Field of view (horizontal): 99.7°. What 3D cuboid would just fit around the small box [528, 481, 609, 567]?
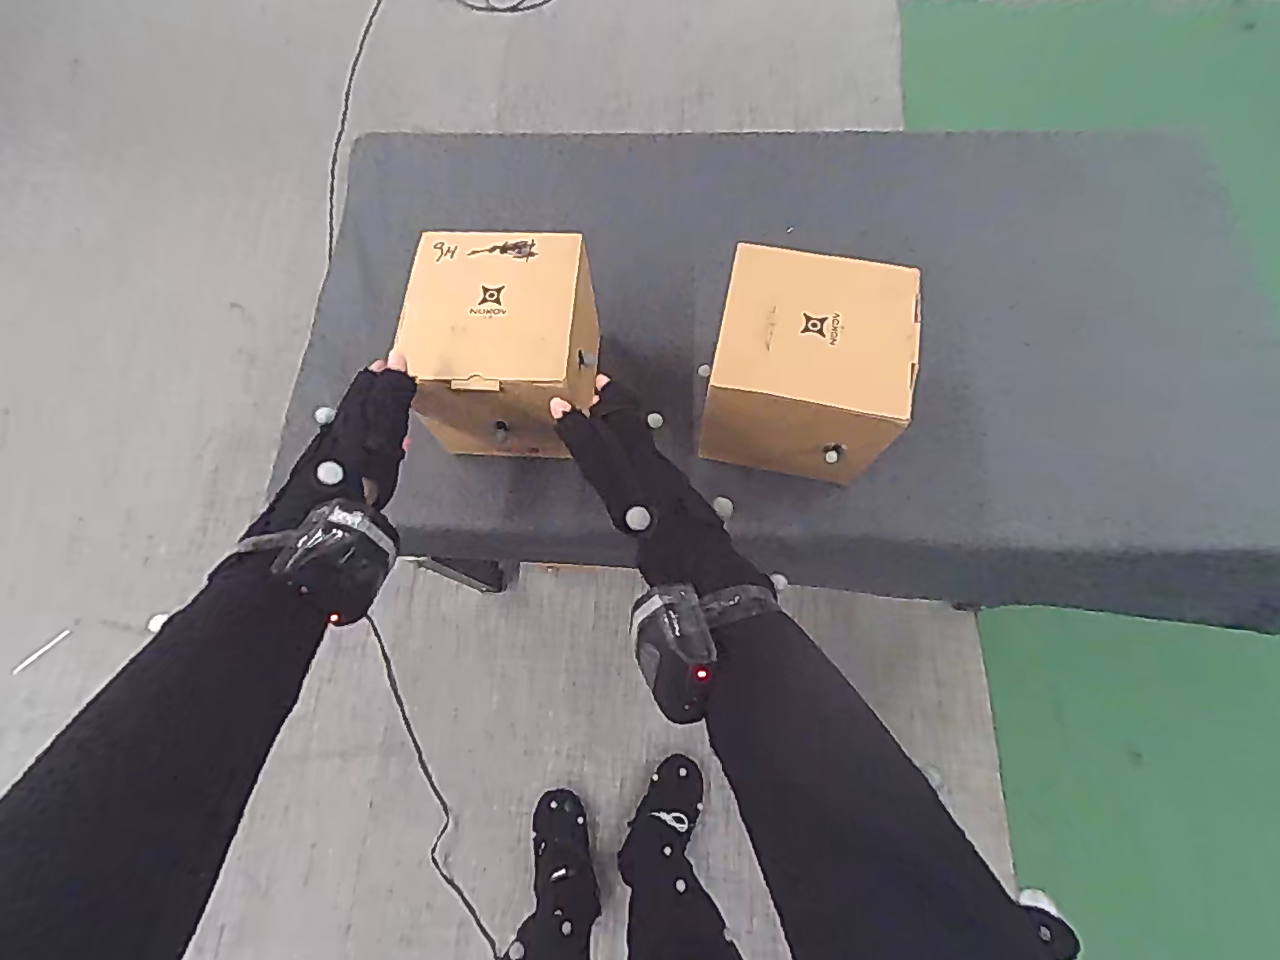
[{"bbox_3d":[-0.163,0.111,1.285,0.168,0.176,0.179,-1,70,1],"label":"small box"}]

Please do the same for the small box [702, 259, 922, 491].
[{"bbox_3d":[0.169,-0.099,0.573,0.179,0.176,0.168,11,70,7],"label":"small box"}]

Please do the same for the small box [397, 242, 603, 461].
[{"bbox_3d":[-0.134,-0.130,0.593,0.168,0.176,0.179,3,70,3],"label":"small box"}]
